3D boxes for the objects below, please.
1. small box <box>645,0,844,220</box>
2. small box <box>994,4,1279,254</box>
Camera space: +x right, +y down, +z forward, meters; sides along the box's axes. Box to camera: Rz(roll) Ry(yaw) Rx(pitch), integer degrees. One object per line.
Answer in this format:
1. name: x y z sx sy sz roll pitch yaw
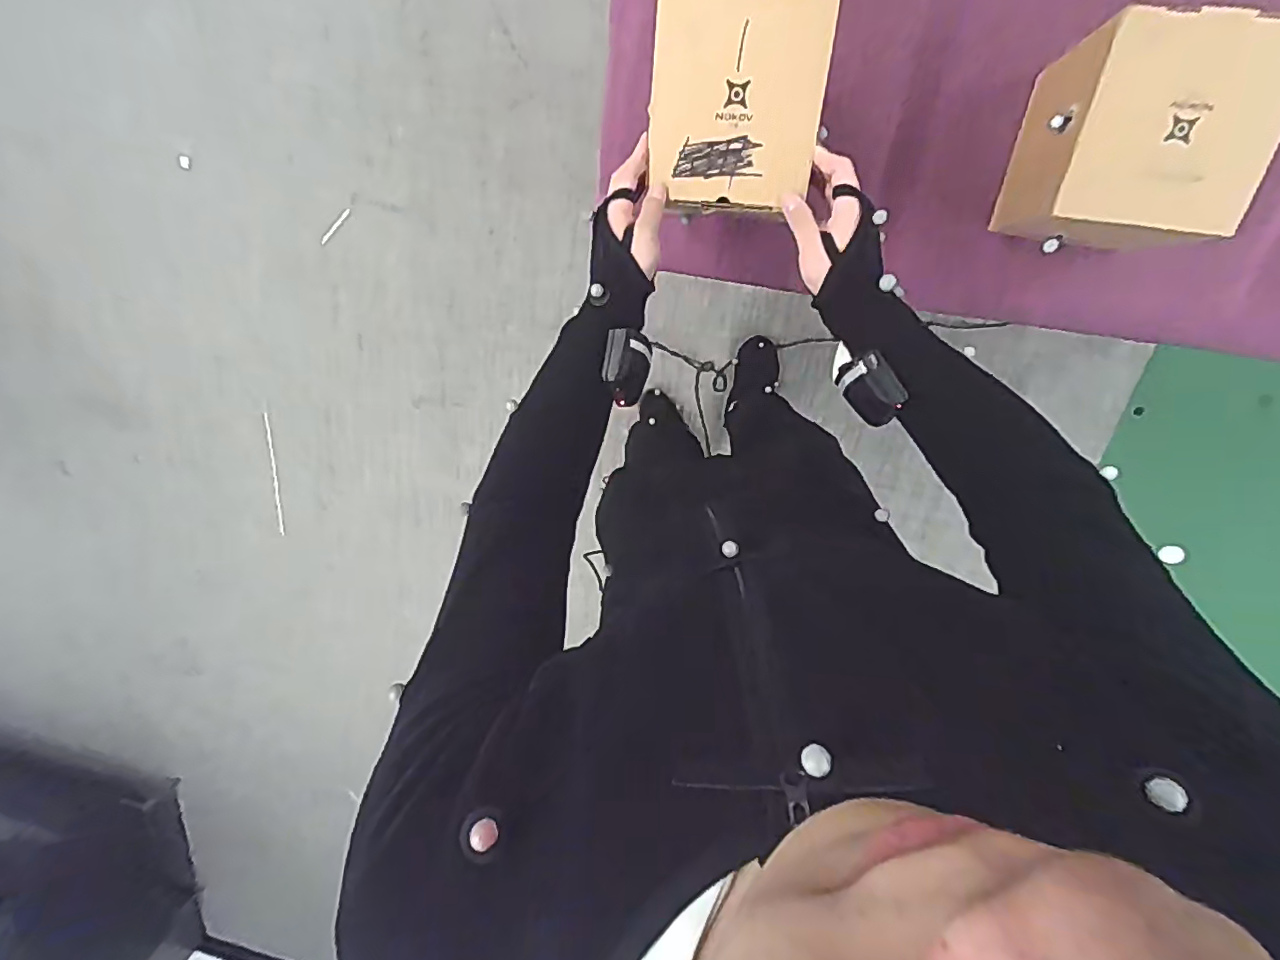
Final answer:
1. small box: 0.106 -0.386 0.584 0.168 0.176 0.179 8 112 7
2. small box: 0.518 -0.351 0.575 0.168 0.176 0.179 12 110 7
